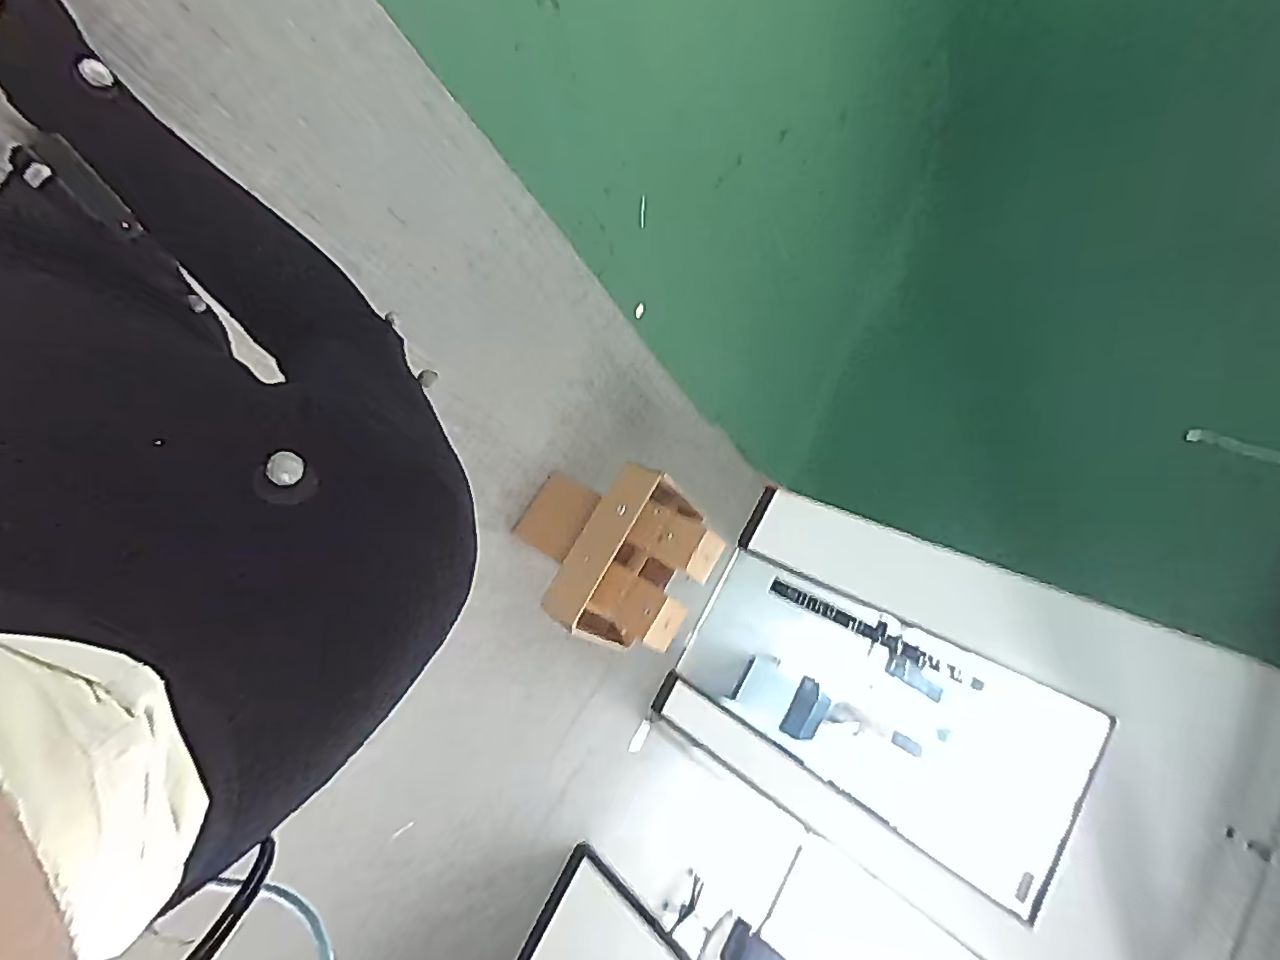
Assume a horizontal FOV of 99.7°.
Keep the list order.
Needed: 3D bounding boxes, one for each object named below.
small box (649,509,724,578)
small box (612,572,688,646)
[{"bbox_3d":[0.165,0.222,1.915,0.168,0.176,0.179,-60,142,-9],"label":"small box"},{"bbox_3d":[0.032,0.445,1.877,0.179,0.176,0.168,-58,141,-9],"label":"small box"}]
